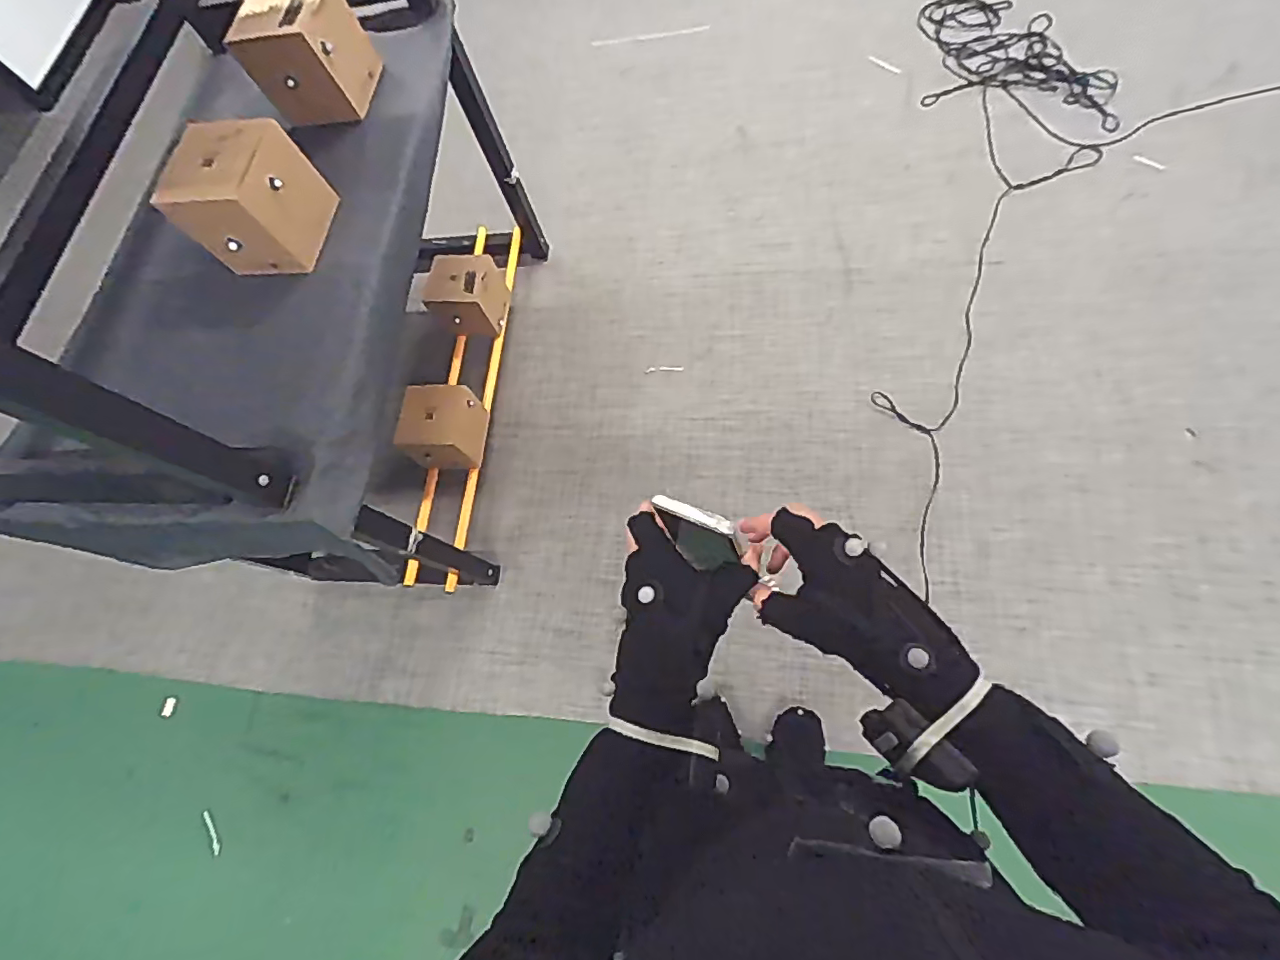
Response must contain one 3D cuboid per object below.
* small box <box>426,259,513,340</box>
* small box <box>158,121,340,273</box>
[{"bbox_3d":[-0.499,-0.534,1.610,0.179,0.176,0.168,4,70,11],"label":"small box"},{"bbox_3d":[-0.666,-0.483,0.945,0.168,0.176,0.179,4,70,11],"label":"small box"}]
